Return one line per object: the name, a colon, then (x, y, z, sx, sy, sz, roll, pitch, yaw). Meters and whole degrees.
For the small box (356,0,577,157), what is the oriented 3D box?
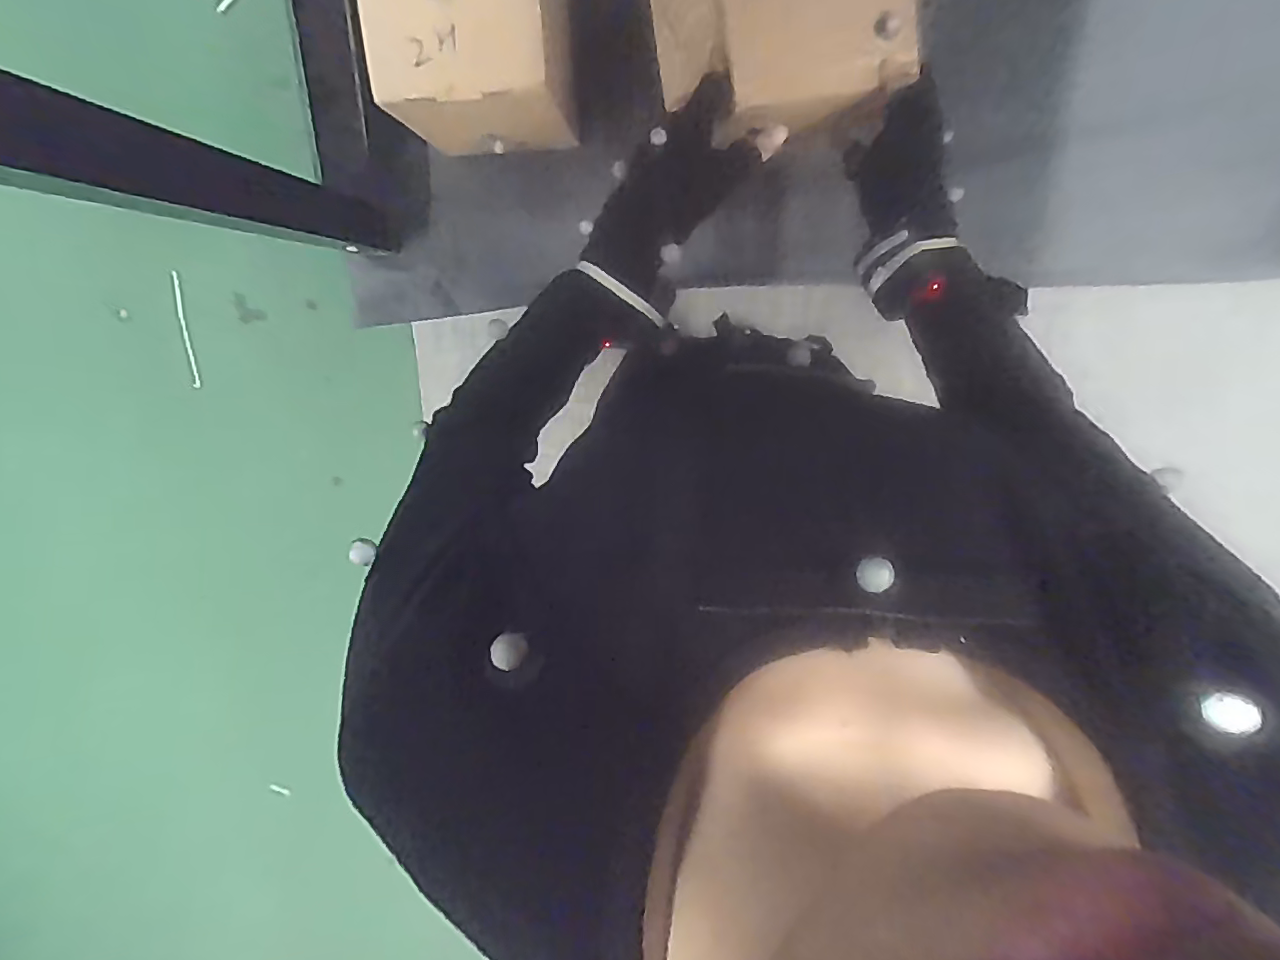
small box: (-0.162, -0.453, 0.544, 0.168, 0.176, 0.179, -1, 105, 6)

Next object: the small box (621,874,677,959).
small box: (0.034, 1.499, 1.850, 0.168, 0.176, 0.179, 9, 107, 4)
